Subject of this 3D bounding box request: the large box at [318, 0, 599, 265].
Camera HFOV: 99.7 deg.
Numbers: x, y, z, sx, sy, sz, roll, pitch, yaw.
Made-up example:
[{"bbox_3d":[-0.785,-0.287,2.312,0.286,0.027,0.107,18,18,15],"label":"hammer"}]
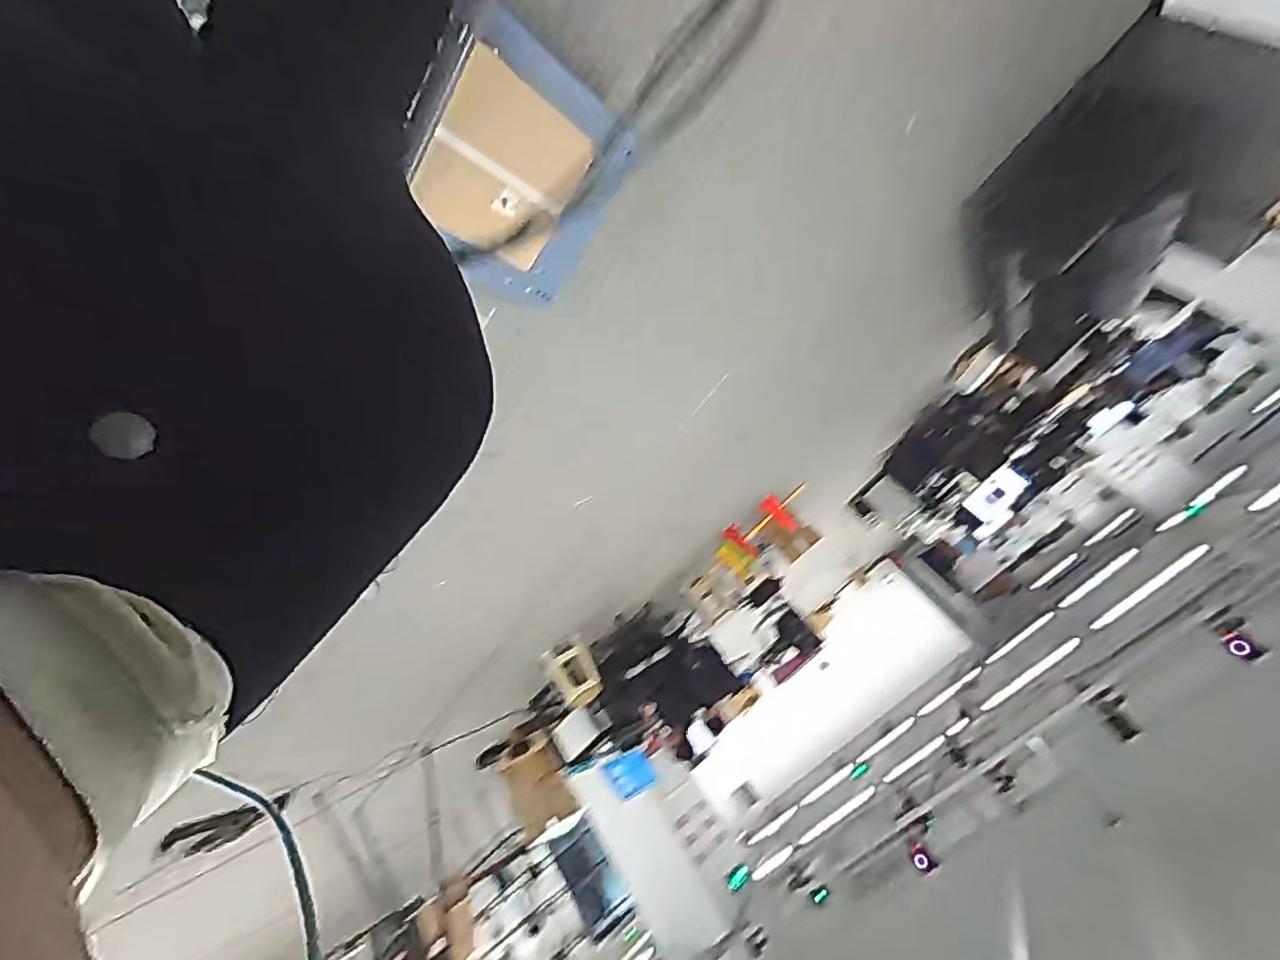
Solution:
[{"bbox_3d":[-0.375,-0.729,1.134,0.408,0.320,0.320,6,128,-54],"label":"large box"}]
